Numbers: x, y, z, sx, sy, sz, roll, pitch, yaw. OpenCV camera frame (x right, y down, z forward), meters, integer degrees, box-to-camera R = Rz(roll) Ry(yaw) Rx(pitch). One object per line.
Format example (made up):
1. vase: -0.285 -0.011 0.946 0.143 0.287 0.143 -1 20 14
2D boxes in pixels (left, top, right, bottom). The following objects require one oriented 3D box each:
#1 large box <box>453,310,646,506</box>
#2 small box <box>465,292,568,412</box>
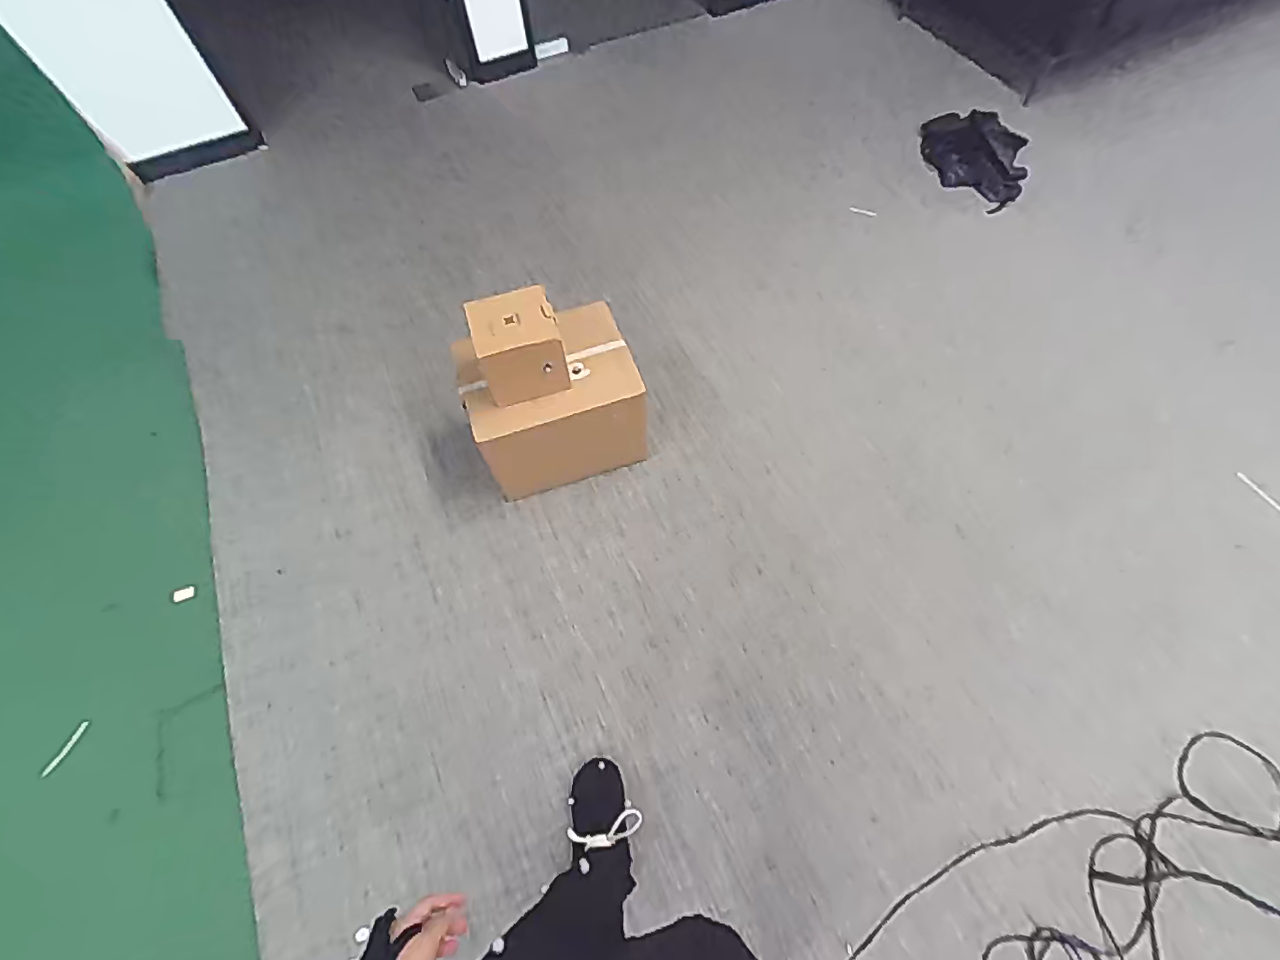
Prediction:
1. large box: -0.223 -0.180 1.416 0.408 0.320 0.320 -18 64 -9
2. small box: -0.264 -0.277 1.193 0.179 0.176 0.168 -18 61 -7
